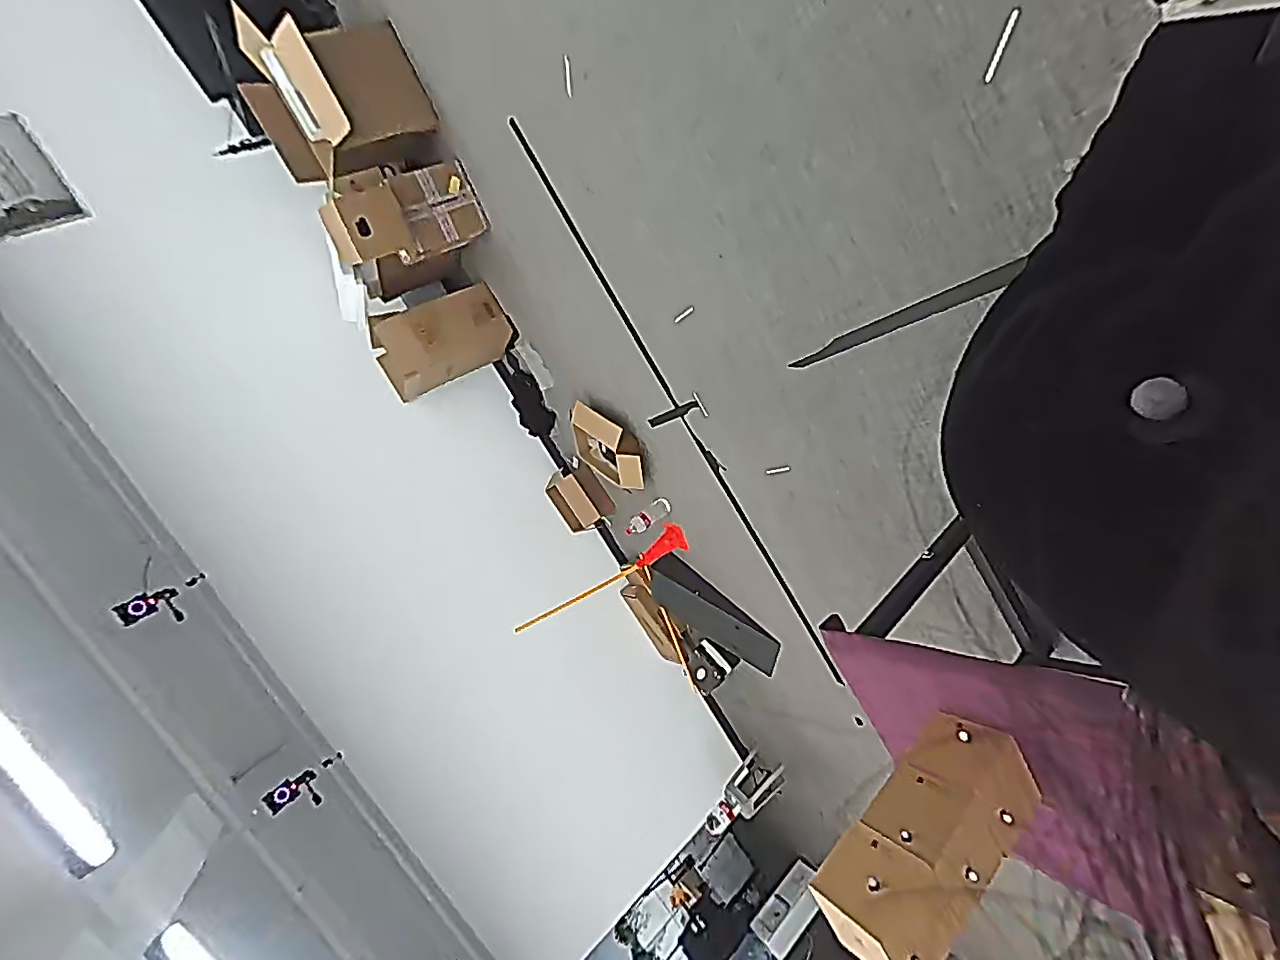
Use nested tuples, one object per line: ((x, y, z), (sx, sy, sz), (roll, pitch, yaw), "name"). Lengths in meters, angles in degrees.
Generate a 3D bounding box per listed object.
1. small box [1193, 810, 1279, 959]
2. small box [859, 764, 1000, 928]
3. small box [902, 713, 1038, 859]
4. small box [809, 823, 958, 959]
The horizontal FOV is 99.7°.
((0.916, 0.595, 0.734), (0.168, 0.176, 0.179), (60, 155, -12), "small box")
((0.588, 0.727, 1.094), (0.179, 0.176, 0.168), (60, 154, -13), "small box")
((0.712, 0.646, 1.163), (0.179, 0.176, 0.168), (61, 154, -11), "small box")
((0.462, 0.806, 1.025), (0.168, 0.176, 0.179), (-5, 117, 61), "small box")
